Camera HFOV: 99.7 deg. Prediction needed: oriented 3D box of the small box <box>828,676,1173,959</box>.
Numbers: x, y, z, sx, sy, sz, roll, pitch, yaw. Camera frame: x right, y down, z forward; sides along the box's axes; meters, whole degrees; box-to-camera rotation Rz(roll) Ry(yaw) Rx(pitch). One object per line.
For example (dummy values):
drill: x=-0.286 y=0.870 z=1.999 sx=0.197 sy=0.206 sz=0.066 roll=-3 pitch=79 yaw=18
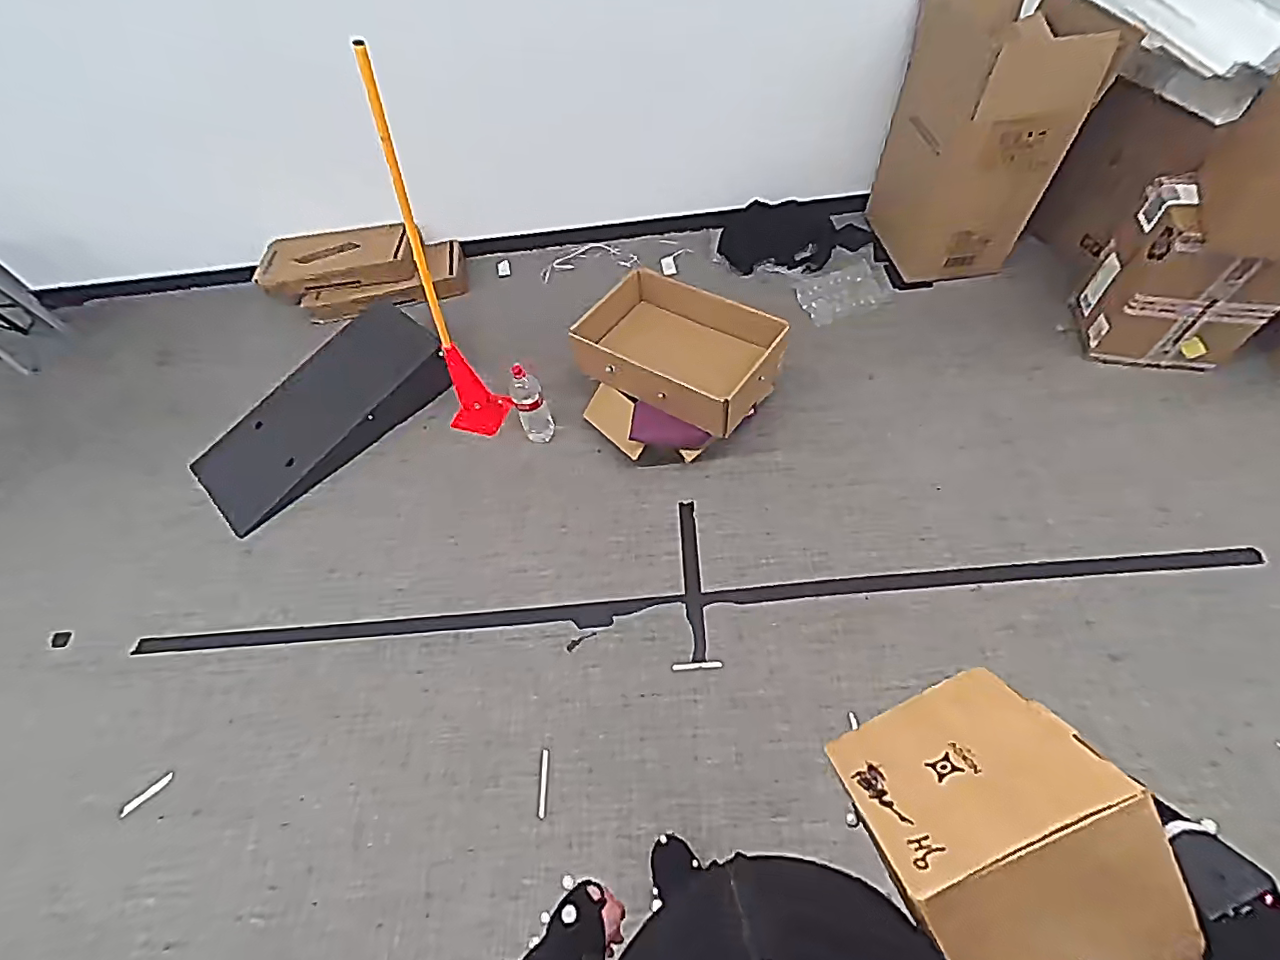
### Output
small box: x=0.302 y=0.316 z=0.472 sx=0.179 sy=0.168 sz=0.176 roll=-28 pitch=99 yaw=2
